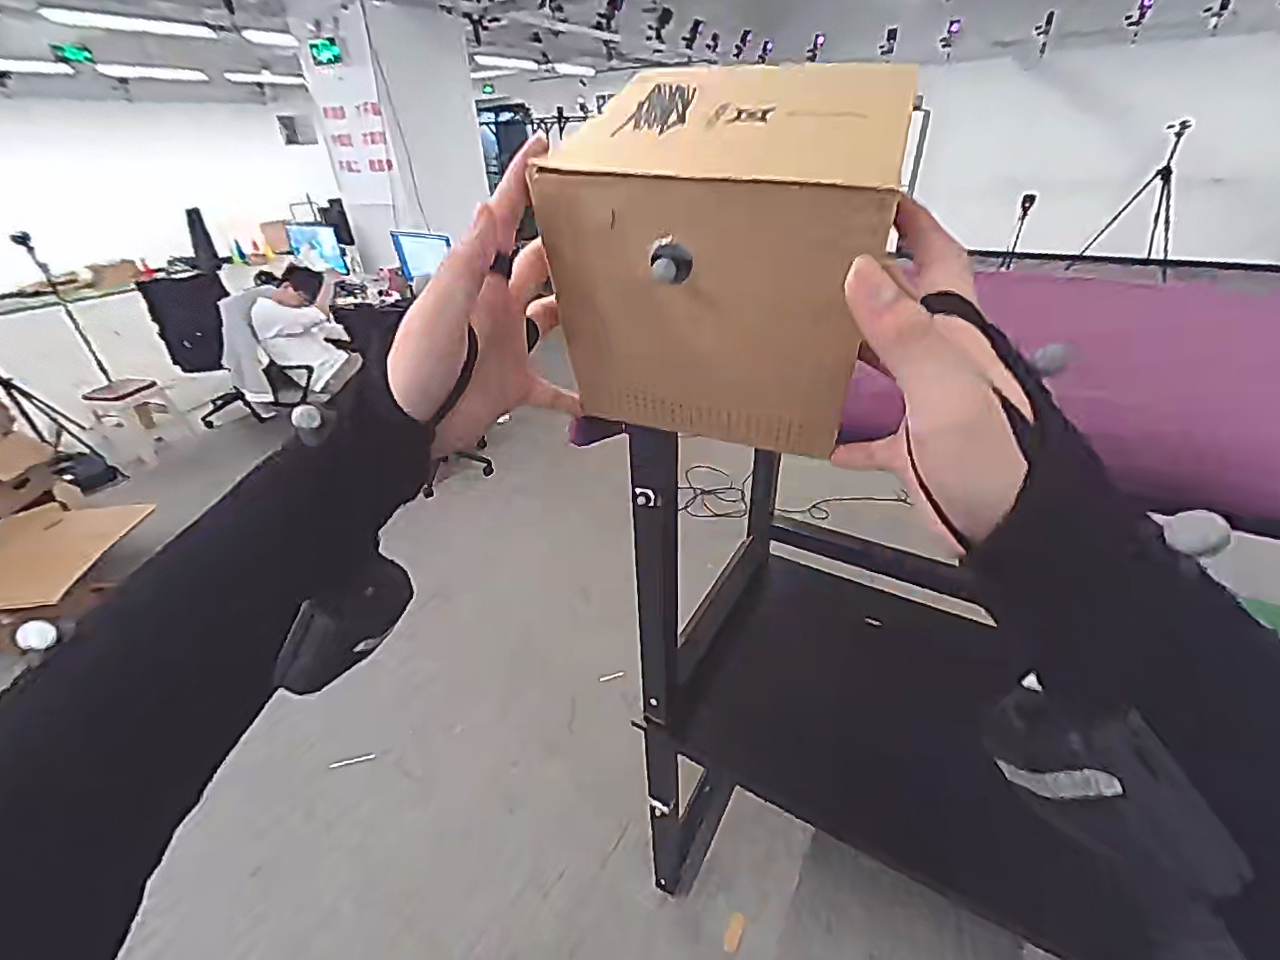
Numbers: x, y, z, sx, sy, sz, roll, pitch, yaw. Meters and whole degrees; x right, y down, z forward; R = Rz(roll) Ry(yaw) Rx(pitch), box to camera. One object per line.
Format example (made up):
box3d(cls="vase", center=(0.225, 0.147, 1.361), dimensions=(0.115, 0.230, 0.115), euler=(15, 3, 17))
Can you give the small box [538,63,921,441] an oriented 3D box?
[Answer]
box3d(cls="small box", center=(0.063, -0.146, 0.355), dimensions=(0.179, 0.176, 0.168), euler=(13, 54, 17))
